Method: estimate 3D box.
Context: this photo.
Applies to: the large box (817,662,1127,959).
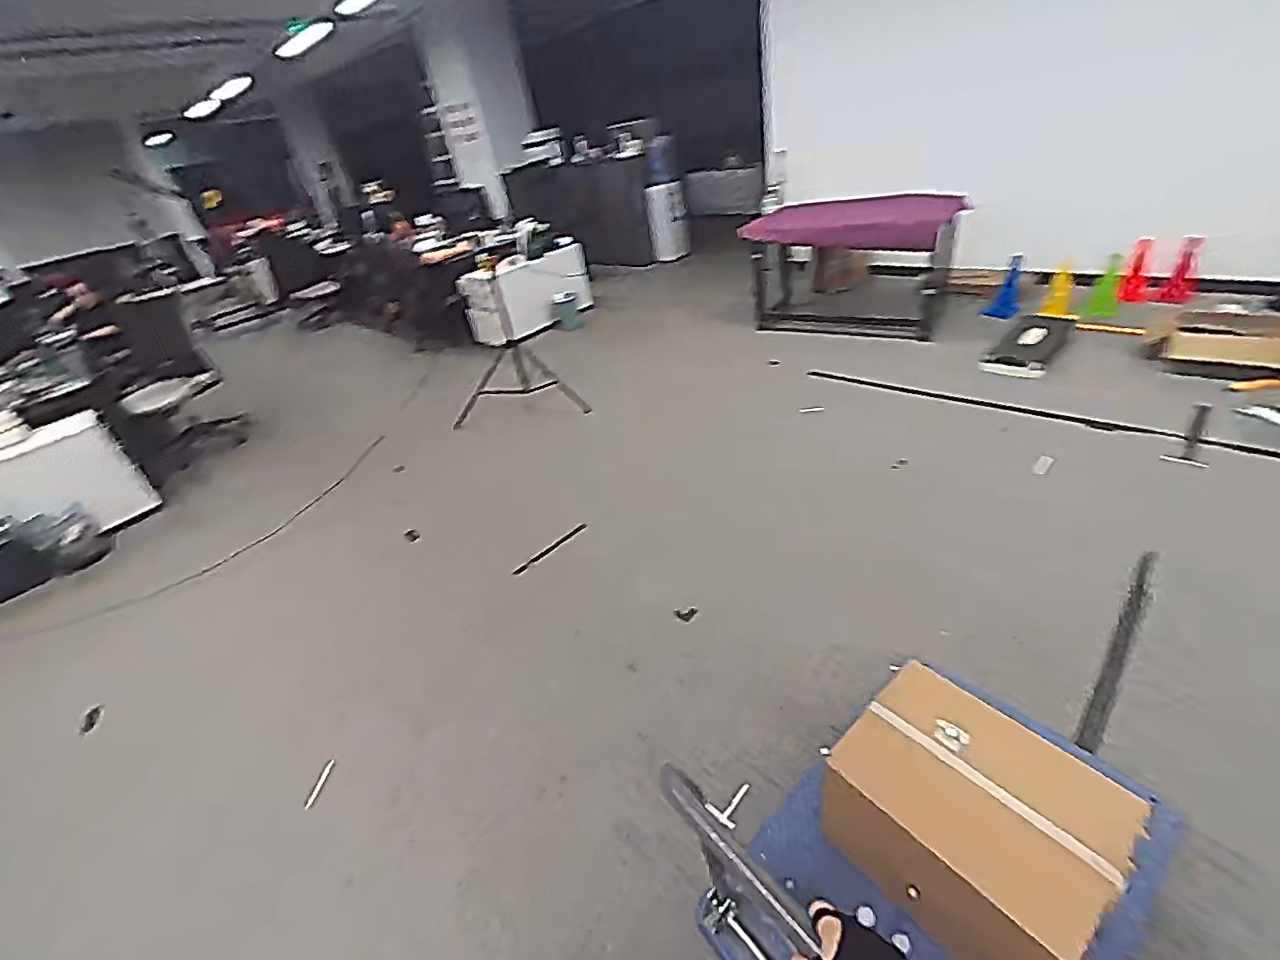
[{"bbox_3d":[0.606,0.651,1.049,0.320,0.320,0.408,-31,38,-28],"label":"large box"}]
